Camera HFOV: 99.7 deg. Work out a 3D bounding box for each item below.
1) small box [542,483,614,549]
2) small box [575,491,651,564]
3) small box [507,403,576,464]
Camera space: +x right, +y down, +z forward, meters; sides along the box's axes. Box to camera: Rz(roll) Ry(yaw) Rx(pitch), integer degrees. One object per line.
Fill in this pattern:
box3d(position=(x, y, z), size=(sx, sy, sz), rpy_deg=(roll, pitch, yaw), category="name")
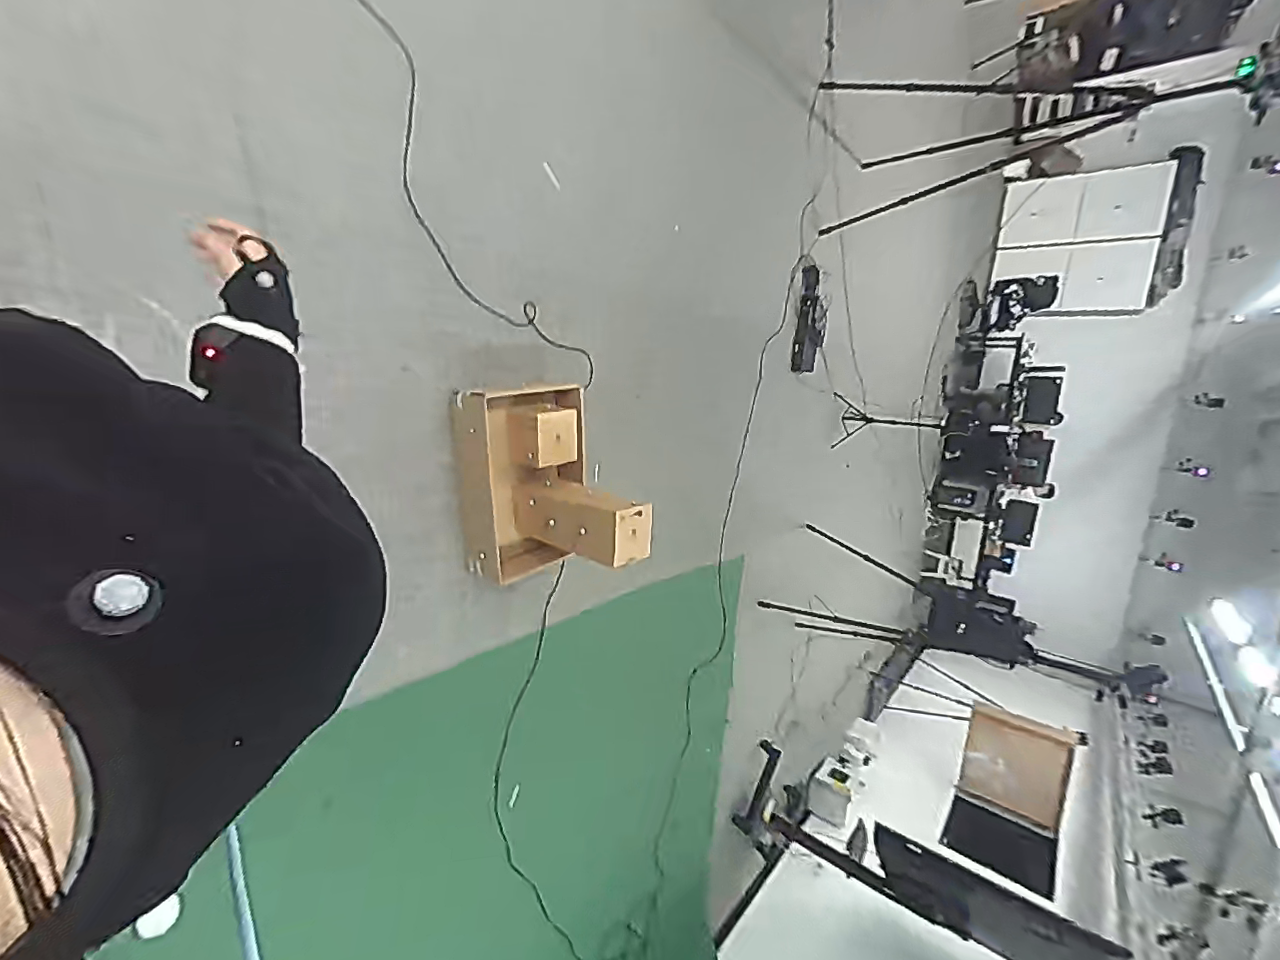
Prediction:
box3d(position=(-0.205, 0.113, 1.794), size=(0.179, 0.176, 0.168), rpy_deg=(-15, 111, -47), category="small box")
box3d(position=(-0.088, 0.142, 1.680), size=(0.168, 0.176, 0.179), rpy_deg=(-10, 107, -49), category="small box")
box3d(position=(-0.333, -0.163, 1.822), size=(0.168, 0.176, 0.179), rpy_deg=(-17, 114, -46), category="small box")
